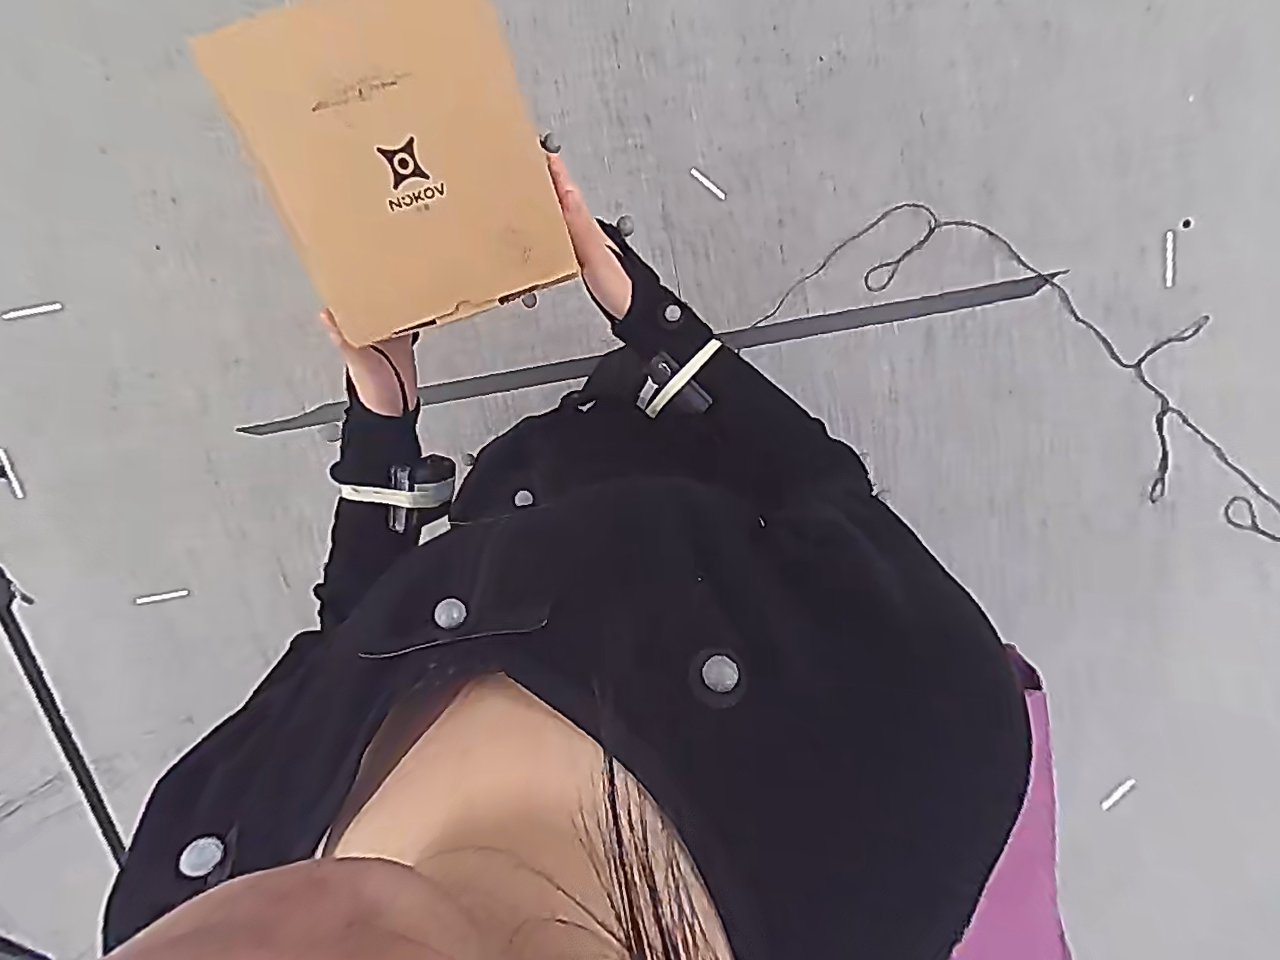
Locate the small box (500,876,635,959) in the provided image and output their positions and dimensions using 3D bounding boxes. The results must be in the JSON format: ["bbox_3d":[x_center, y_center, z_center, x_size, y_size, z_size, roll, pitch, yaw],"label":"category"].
[{"bbox_3d":[-0.106,0.746,0.811,0.179,0.176,0.168,-12,102,1],"label":"small box"}]

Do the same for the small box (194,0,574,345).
[{"bbox_3d":[-0.153,-0.221,0.401,0.168,0.176,0.179,-19,114,0],"label":"small box"}]
